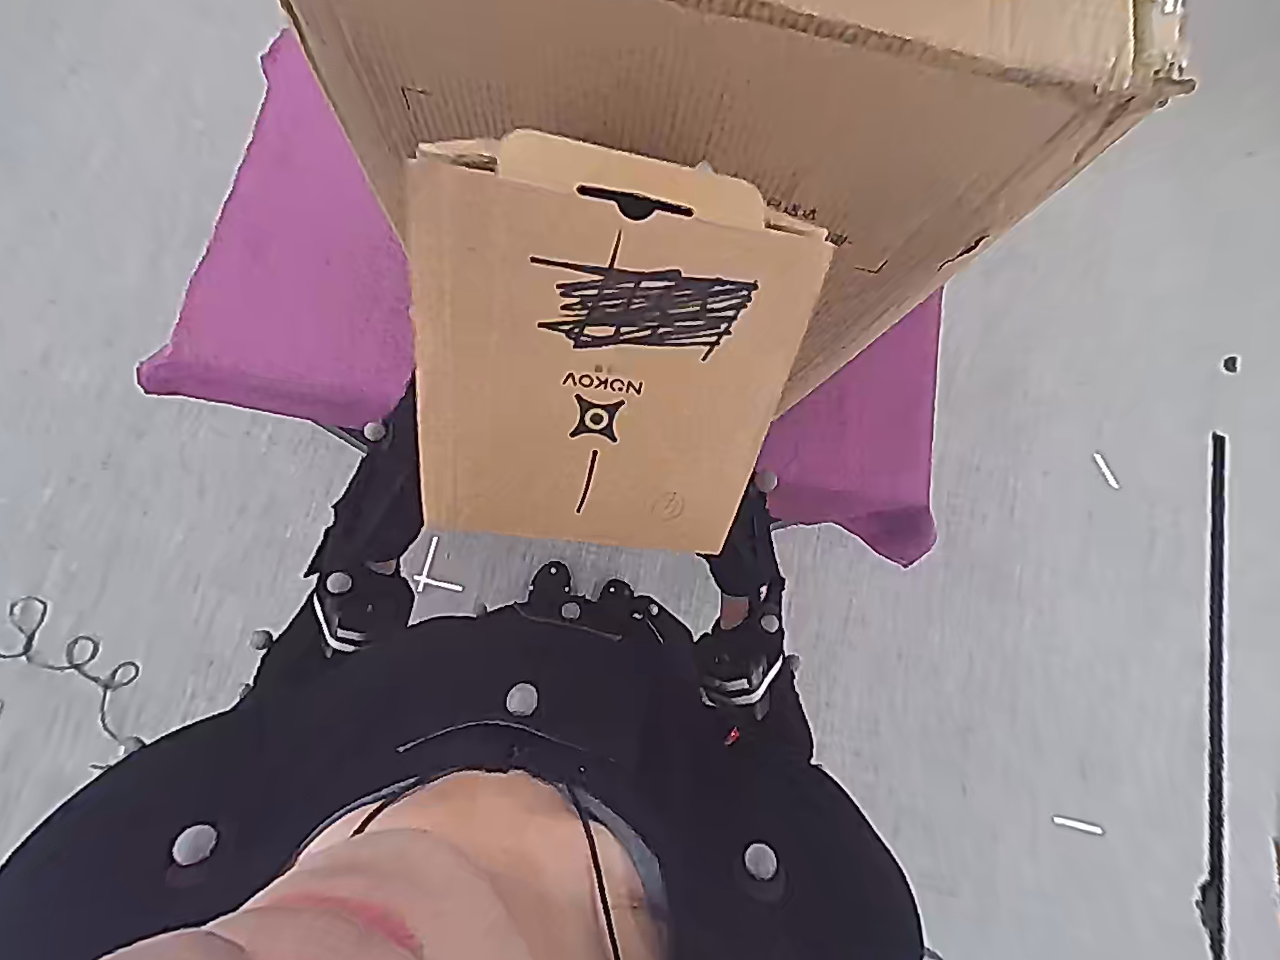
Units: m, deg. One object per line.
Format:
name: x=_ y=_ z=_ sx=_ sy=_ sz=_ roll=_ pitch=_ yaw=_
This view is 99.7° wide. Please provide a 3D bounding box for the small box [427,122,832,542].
small box: x=-0.022 y=-0.088 z=0.320 sx=0.168 sy=0.176 sz=0.179 roll=7 pitch=120 yaw=-10
